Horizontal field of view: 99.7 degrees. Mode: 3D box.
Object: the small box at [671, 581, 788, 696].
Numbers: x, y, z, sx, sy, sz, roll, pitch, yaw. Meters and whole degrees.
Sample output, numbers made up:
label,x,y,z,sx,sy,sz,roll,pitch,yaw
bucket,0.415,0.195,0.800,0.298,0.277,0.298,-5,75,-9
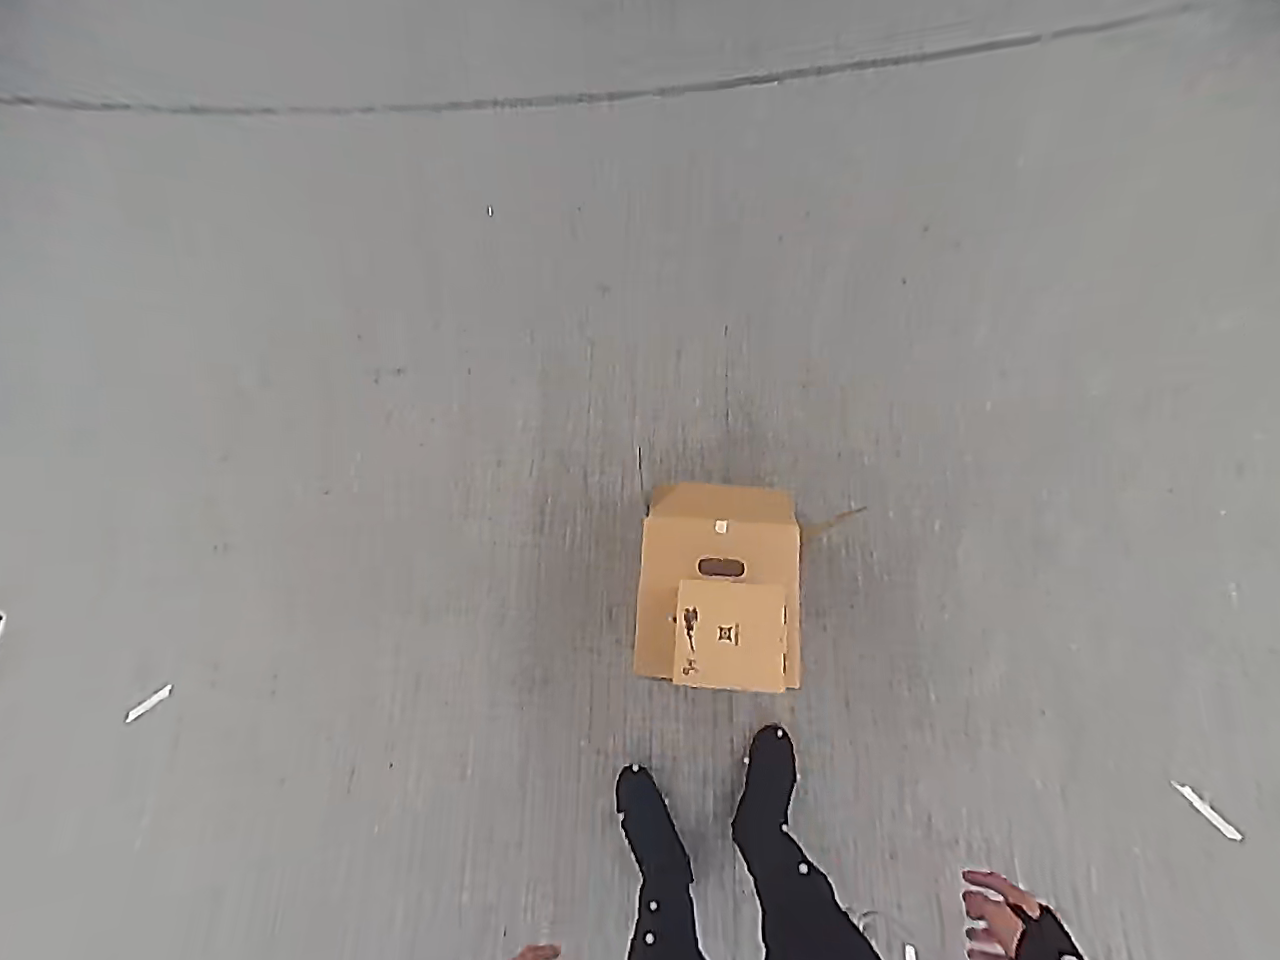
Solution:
label,x,y,z,sx,sy,sz,roll,pitch,yaw
small box,0.148,0.268,0.933,0.179,0.176,0.168,4,76,3
